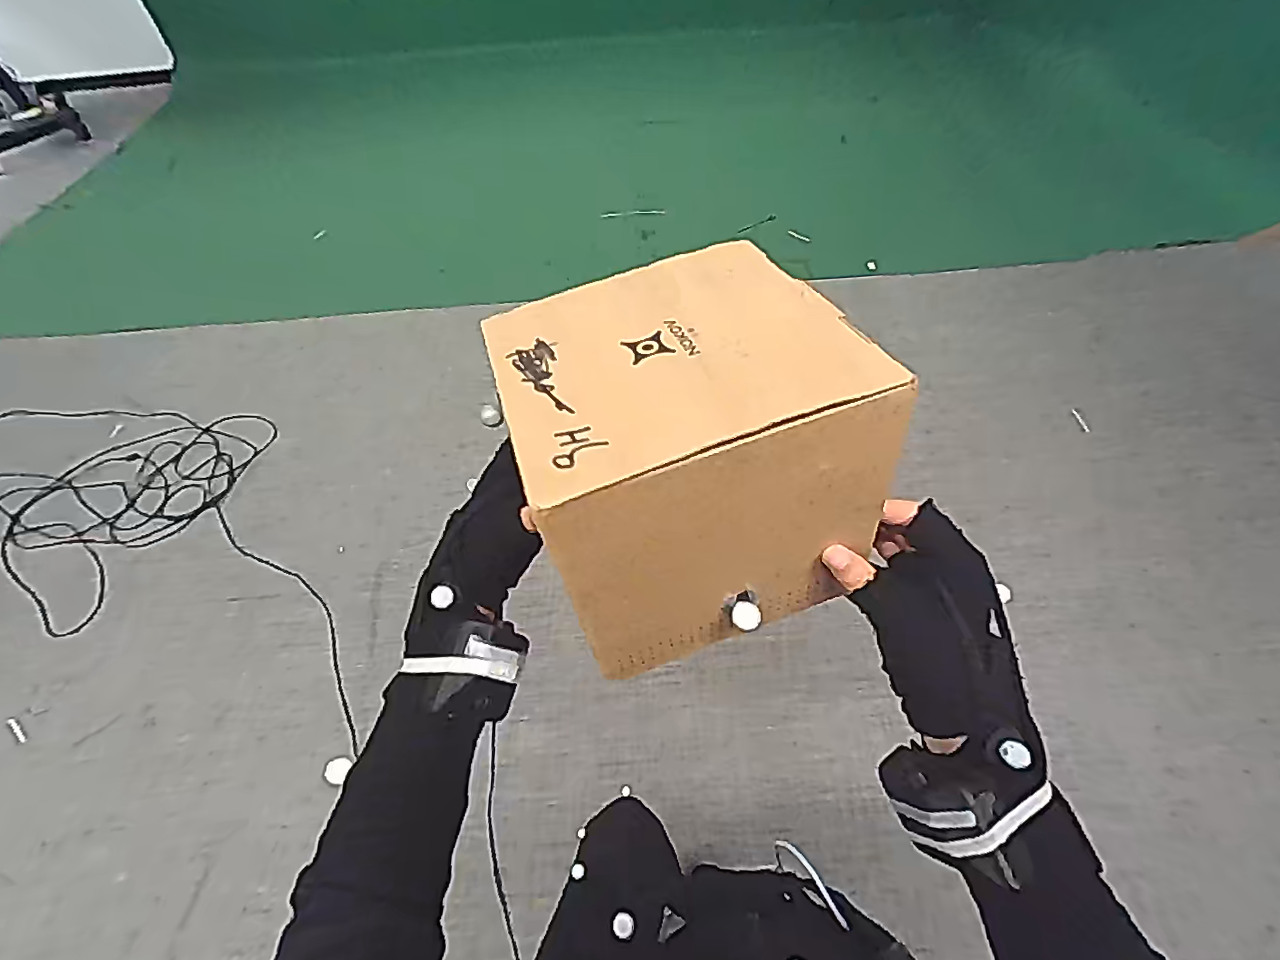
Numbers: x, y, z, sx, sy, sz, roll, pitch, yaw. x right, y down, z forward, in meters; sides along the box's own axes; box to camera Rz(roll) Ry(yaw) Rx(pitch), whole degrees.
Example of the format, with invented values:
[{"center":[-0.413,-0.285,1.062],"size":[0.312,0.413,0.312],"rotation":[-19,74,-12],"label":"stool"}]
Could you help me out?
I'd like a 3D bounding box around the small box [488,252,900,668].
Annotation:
[{"center":[0.023,-0.013,0.342],"size":[0.179,0.176,0.168],"rotation":[-19,46,-7],"label":"small box"}]
